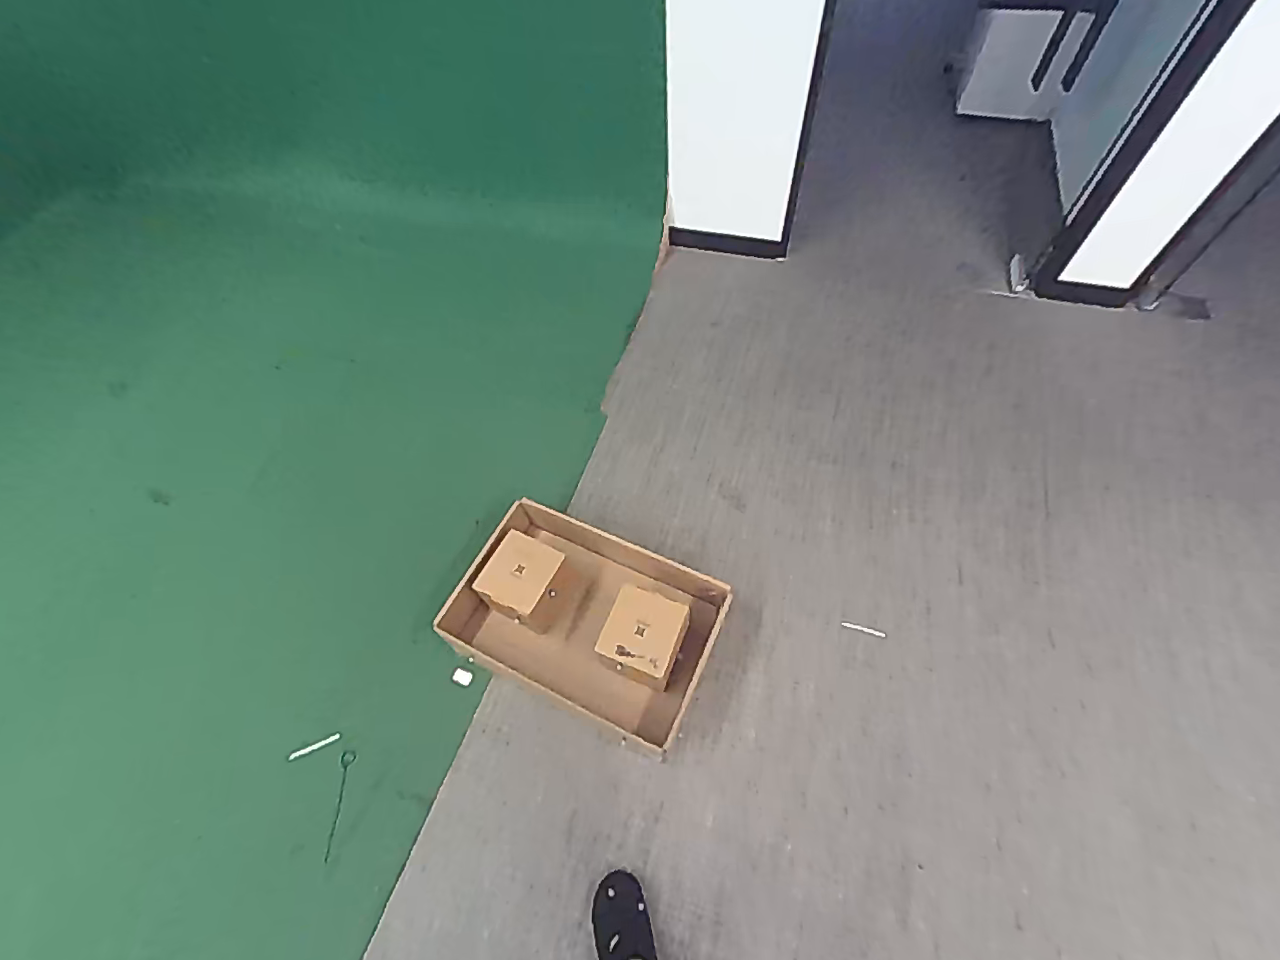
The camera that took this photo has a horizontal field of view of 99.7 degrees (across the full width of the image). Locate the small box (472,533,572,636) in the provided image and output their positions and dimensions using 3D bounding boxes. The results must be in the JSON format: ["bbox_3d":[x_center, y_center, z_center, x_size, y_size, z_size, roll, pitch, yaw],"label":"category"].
[{"bbox_3d":[-0.288,0.269,1.370,0.168,0.176,0.179,24,63,15],"label":"small box"}]
